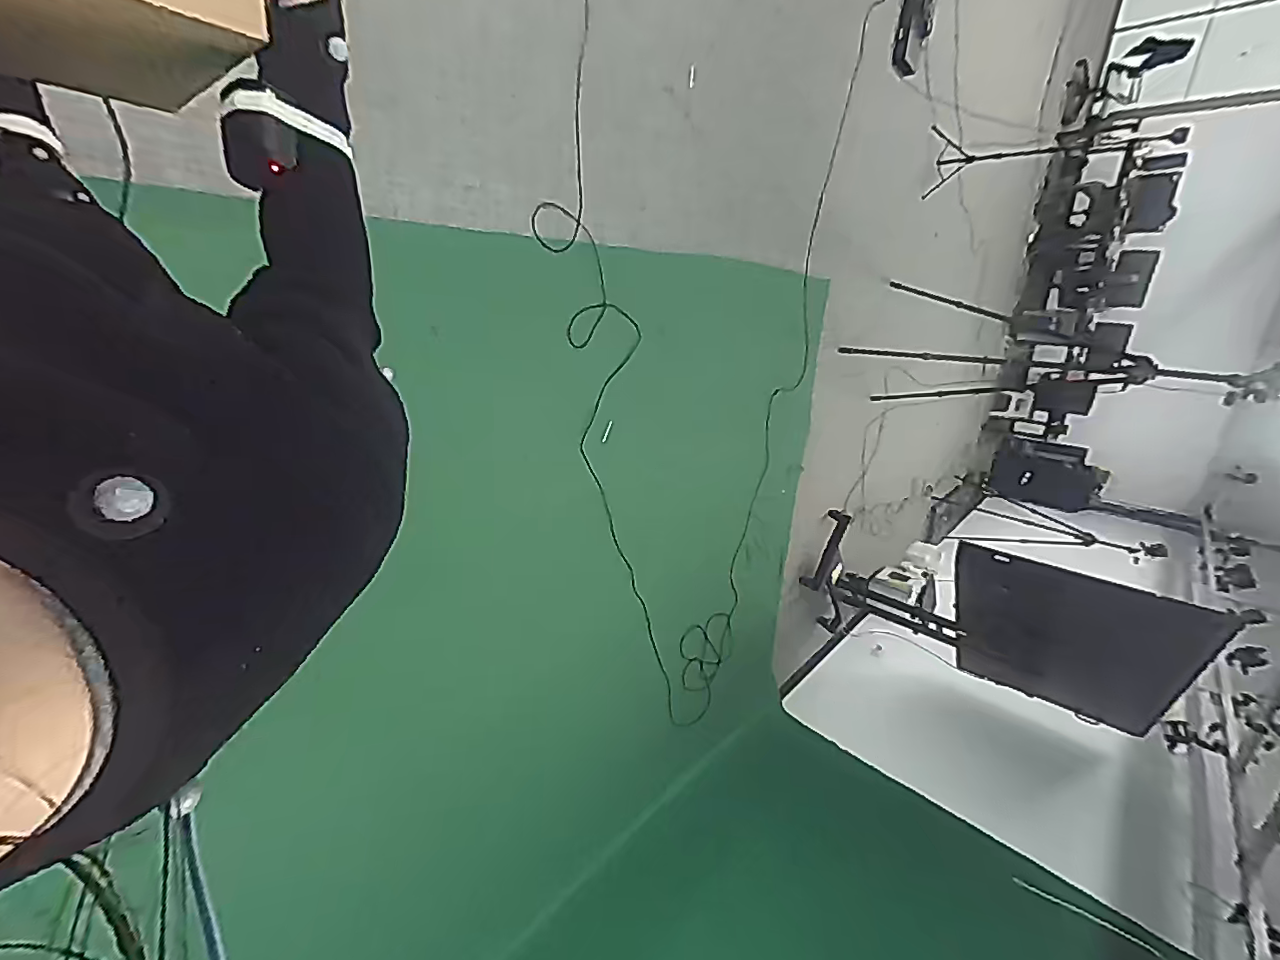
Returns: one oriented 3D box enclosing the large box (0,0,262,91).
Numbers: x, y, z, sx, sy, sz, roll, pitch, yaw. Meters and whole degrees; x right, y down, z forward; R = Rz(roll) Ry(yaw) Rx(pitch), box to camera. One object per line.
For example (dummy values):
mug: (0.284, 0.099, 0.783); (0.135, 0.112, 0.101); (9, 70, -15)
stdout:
large box: (-0.523, -0.483, 0.317); (0.408, 0.320, 0.320); (-17, 117, -46)
